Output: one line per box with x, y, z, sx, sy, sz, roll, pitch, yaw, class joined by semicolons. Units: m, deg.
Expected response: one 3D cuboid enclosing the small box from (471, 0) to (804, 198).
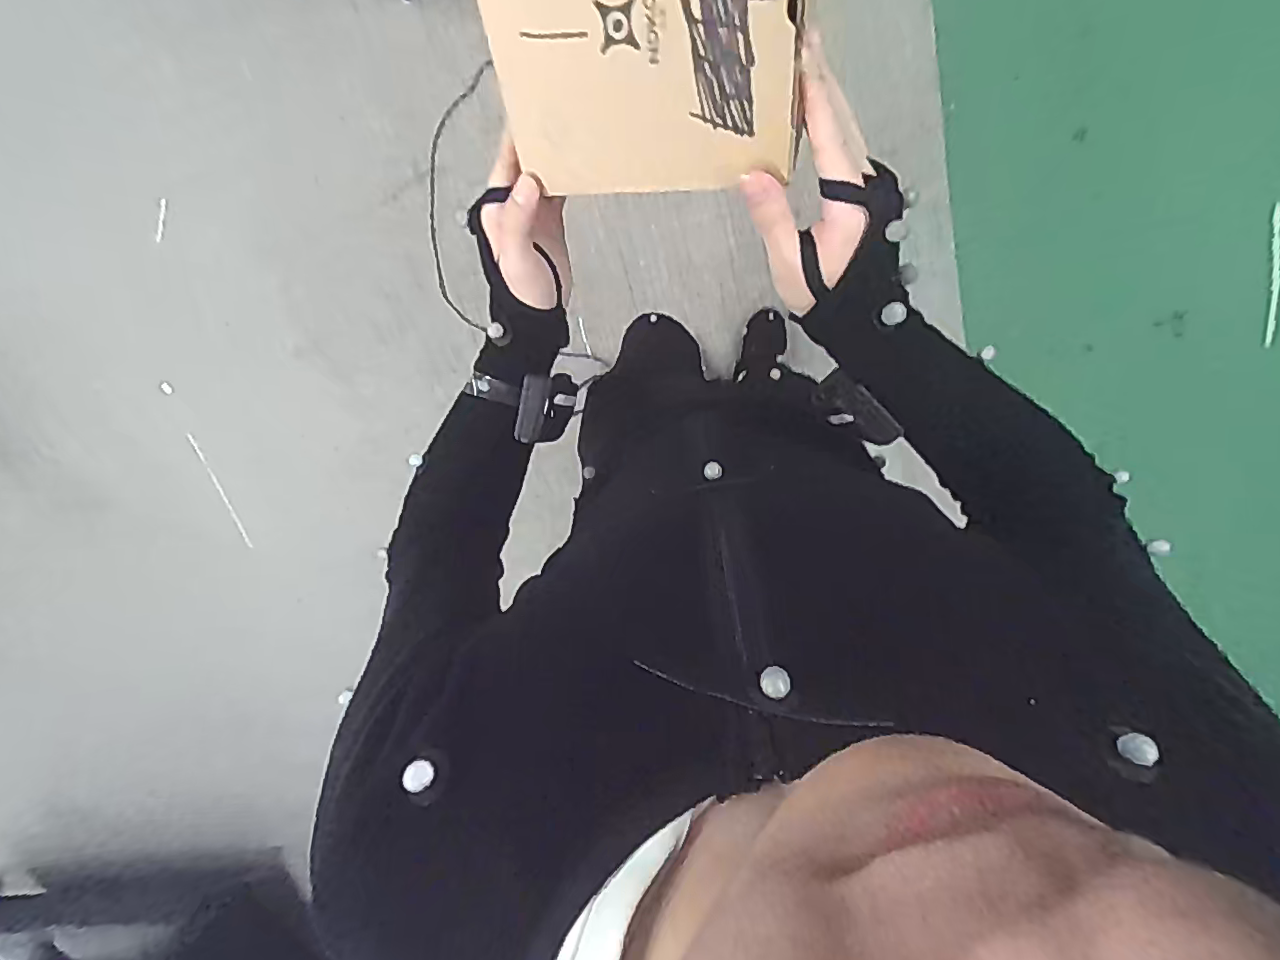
0.013;-0.298;0.341;0.179;0.176;0.168;6;137;16;small box

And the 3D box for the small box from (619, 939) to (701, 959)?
0.045;1.080;1.102;0.179;0.176;0.168;-10;108;13;small box
